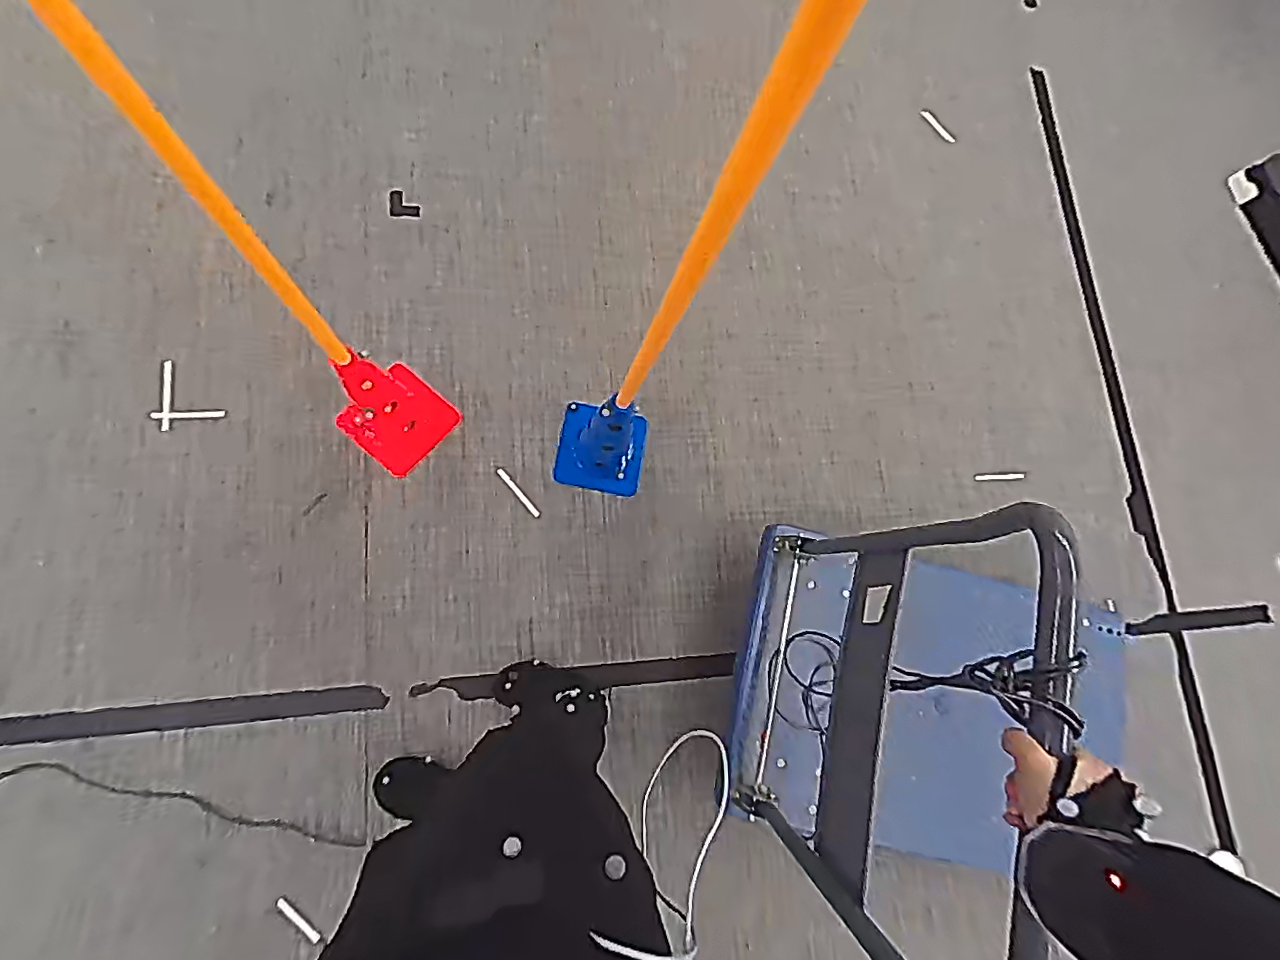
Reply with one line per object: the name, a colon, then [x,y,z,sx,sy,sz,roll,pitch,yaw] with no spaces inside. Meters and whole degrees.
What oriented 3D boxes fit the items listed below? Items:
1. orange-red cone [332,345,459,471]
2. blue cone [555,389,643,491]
orange-red cone: [-0.499,-0.171,1.030,0.199,0.360,0.198,43,76,-1]
blue cone: [-0.068,-0.105,1.108,0.192,0.380,0.193,13,78,-7]
